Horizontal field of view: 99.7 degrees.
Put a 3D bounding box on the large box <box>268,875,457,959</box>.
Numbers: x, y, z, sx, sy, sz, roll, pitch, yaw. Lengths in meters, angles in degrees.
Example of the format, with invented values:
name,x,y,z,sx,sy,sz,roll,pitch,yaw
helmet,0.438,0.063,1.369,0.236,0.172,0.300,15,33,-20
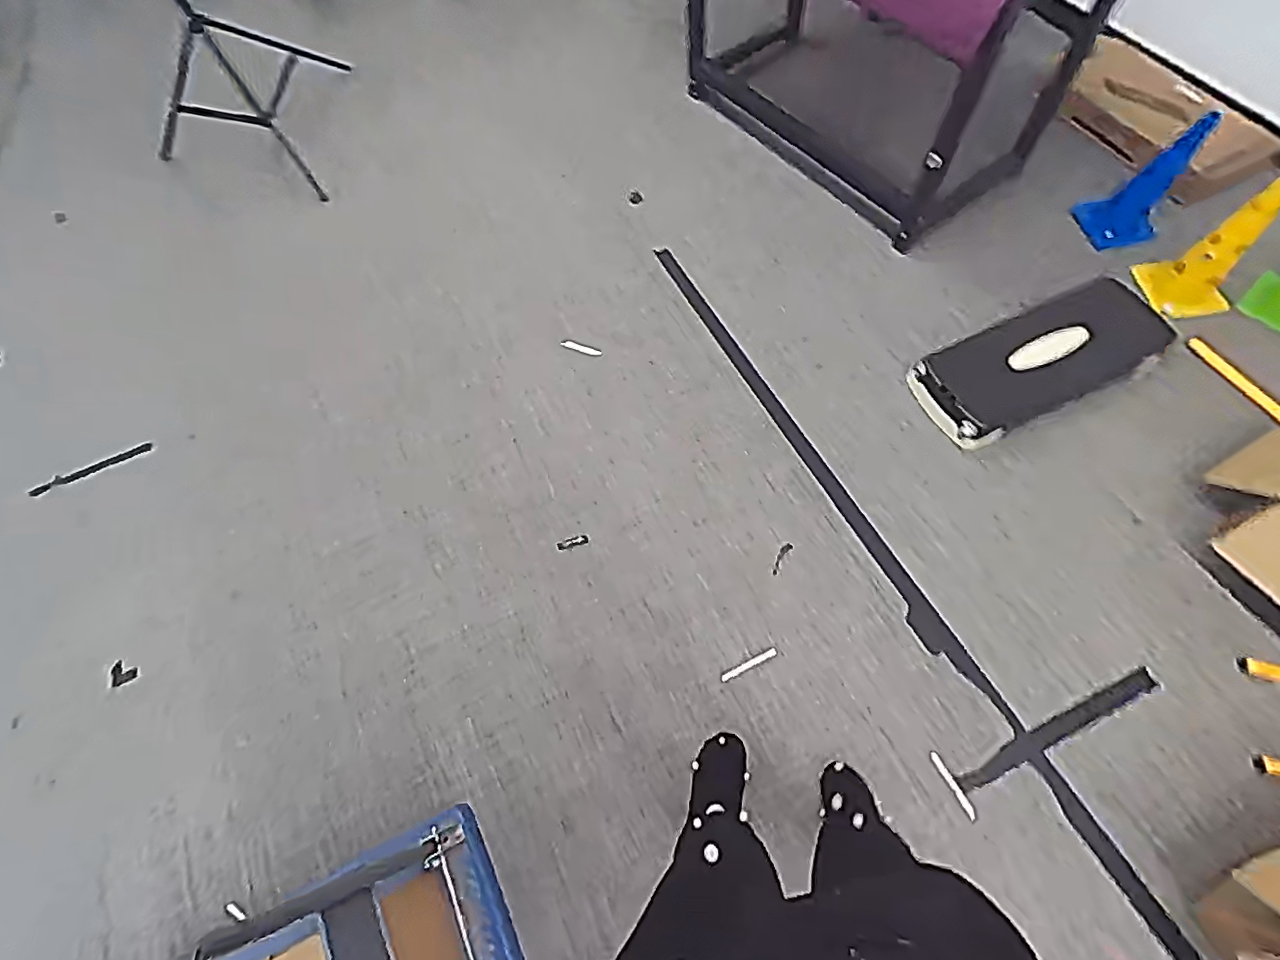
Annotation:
name,x,y,z,sx,sy,sz,roll,pitch,yaw
large box,-0.467,0.938,0.838,0.320,0.320,0.408,-26,65,-7
